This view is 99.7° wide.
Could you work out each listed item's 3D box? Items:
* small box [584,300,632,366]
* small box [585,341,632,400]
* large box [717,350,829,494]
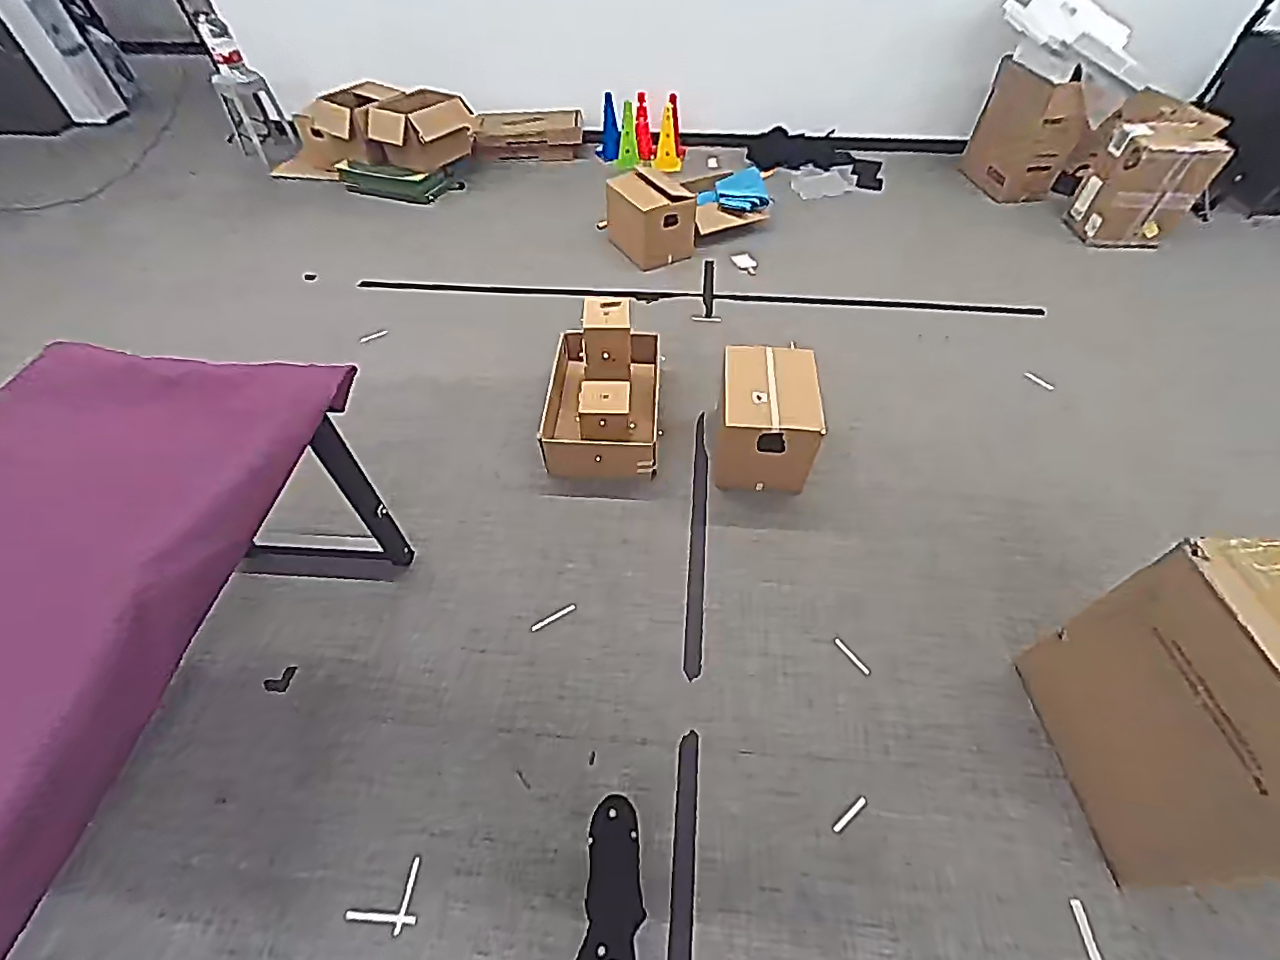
[{"bbox_3d":[-0.114,-0.540,1.984,0.168,0.176,0.179,-1,53,-1],"label":"small box"},{"bbox_3d":[-0.124,-0.429,2.107,0.179,0.176,0.168,-4,52,-4],"label":"small box"},{"bbox_3d":[0.443,-0.205,1.900,0.320,0.320,0.408,3,52,4],"label":"large box"}]
